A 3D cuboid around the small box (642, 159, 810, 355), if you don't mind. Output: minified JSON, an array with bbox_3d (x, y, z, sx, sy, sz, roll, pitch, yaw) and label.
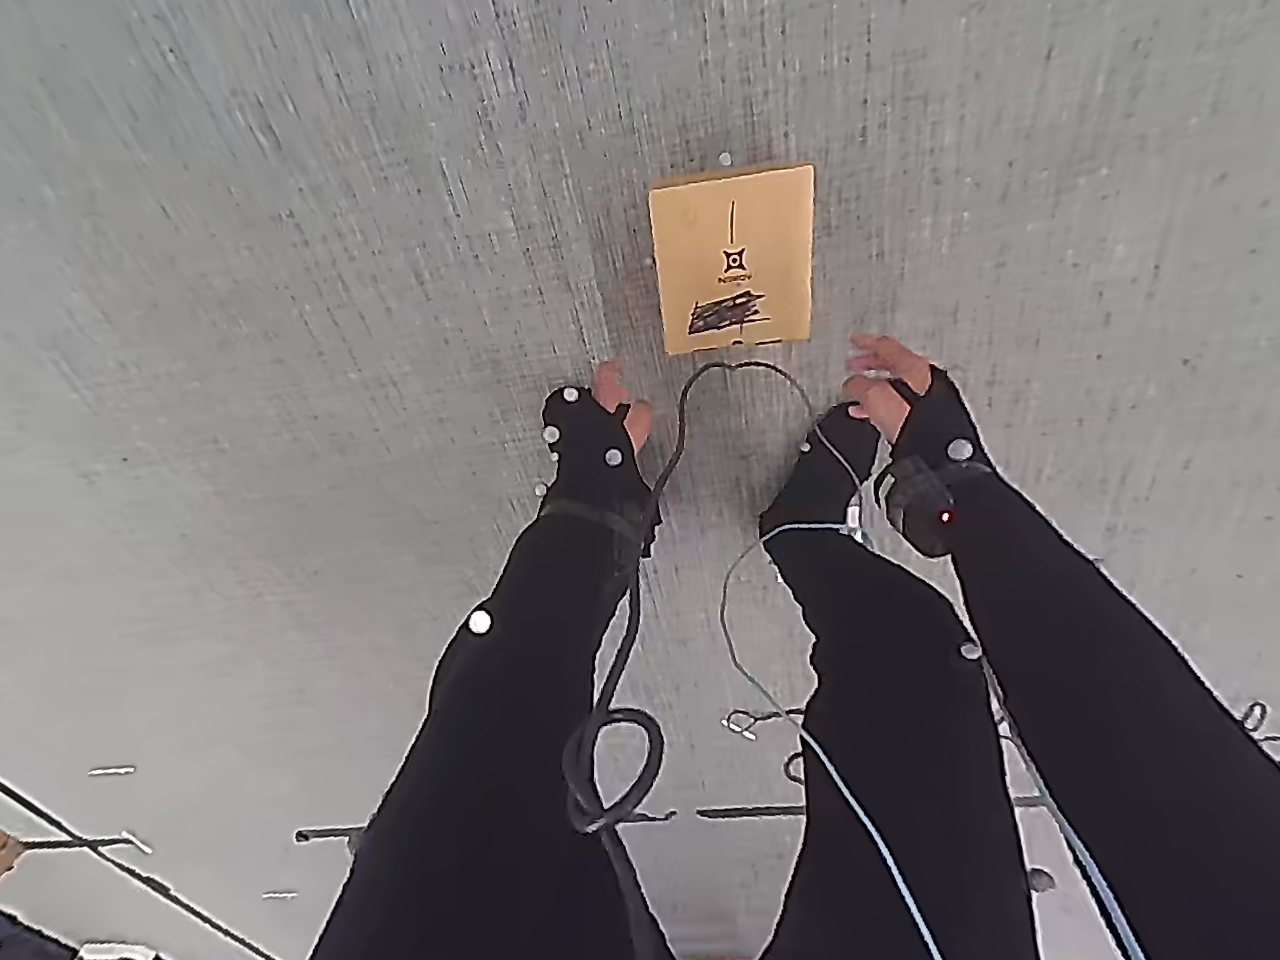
[{"bbox_3d":[0.097,-0.266,0.638,0.168,0.176,0.179,-6,121,6],"label":"small box"}]
